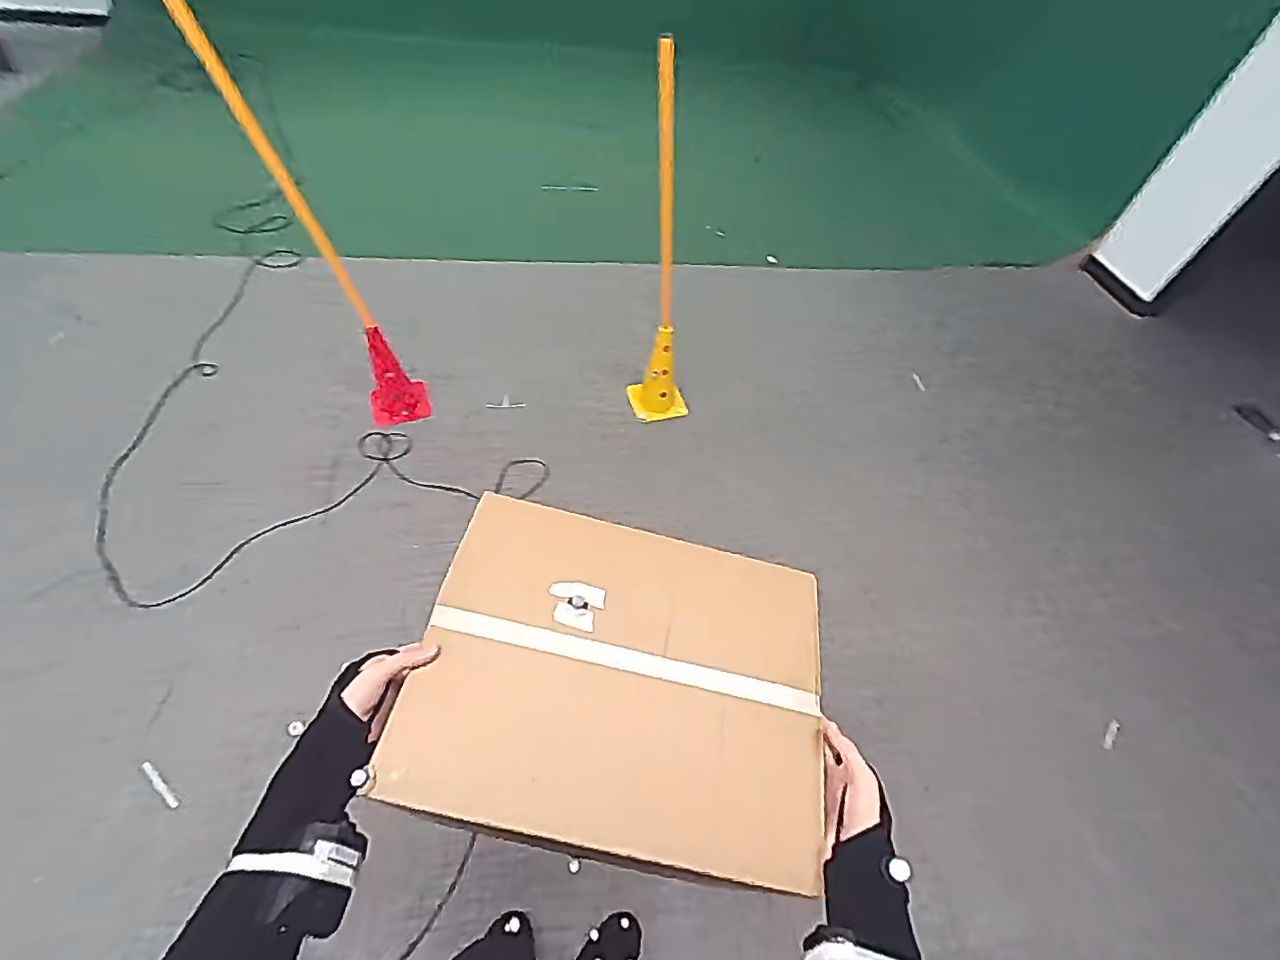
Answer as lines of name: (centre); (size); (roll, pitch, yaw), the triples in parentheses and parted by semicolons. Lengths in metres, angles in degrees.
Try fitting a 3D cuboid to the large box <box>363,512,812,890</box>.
large box: (-0.043, 0.283, 0.673); (0.408, 0.320, 0.320); (13, 52, -2)
